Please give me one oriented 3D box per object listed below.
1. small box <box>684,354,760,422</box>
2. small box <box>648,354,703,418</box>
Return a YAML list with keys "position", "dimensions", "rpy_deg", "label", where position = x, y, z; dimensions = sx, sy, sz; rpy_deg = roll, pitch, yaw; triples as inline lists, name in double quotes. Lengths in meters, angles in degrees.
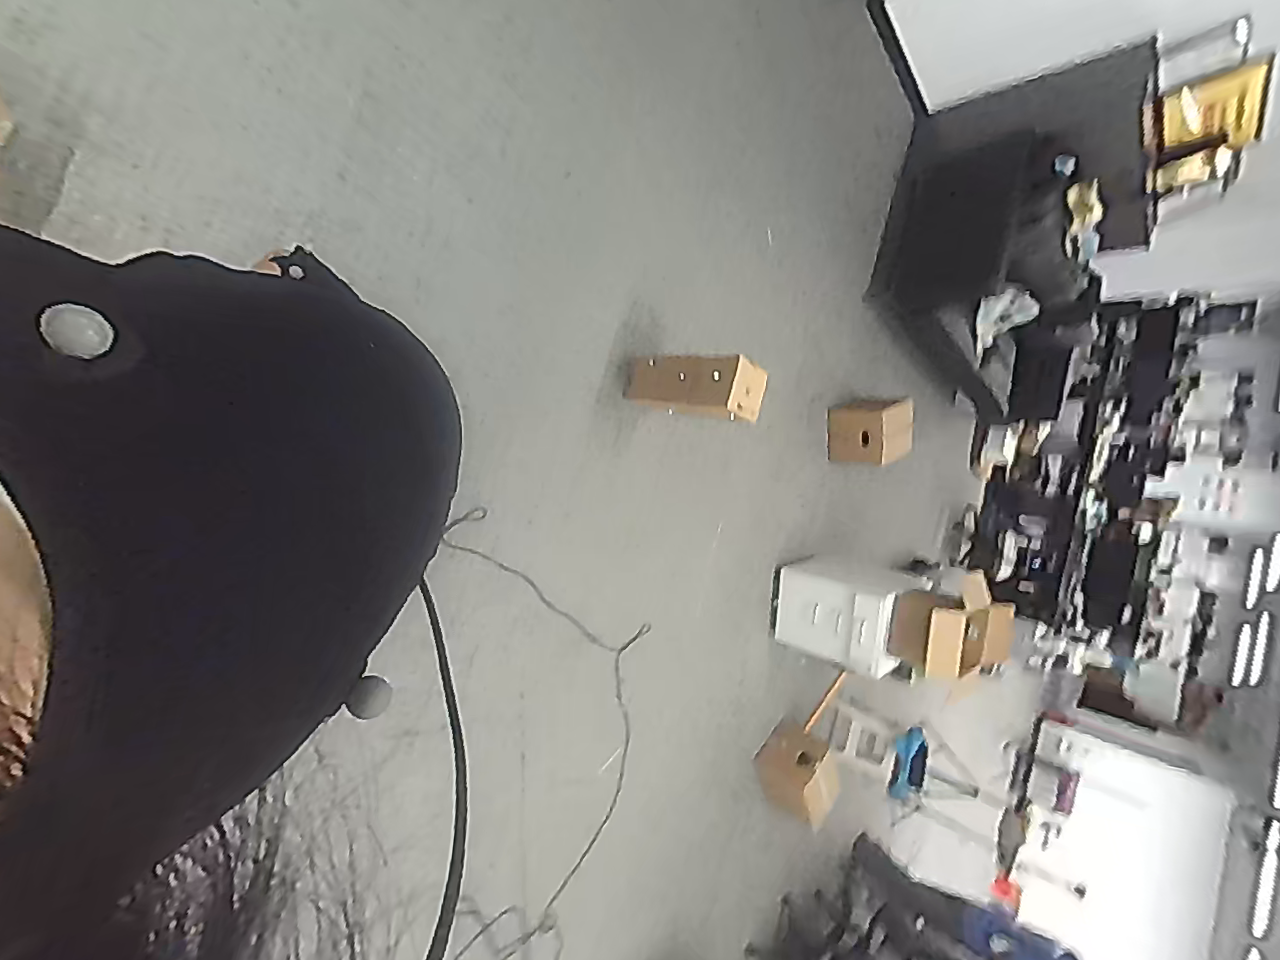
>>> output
- position: [0.269, -0.300, 1.786]
  dimensions: [0.168, 0.176, 0.179]
  rpy_deg: [19, 83, -44]
  label: "small box"
- position: [0.151, -0.328, 1.897]
  dimensions: [0.168, 0.176, 0.179]
  rpy_deg: [19, 85, -44]
  label: "small box"
